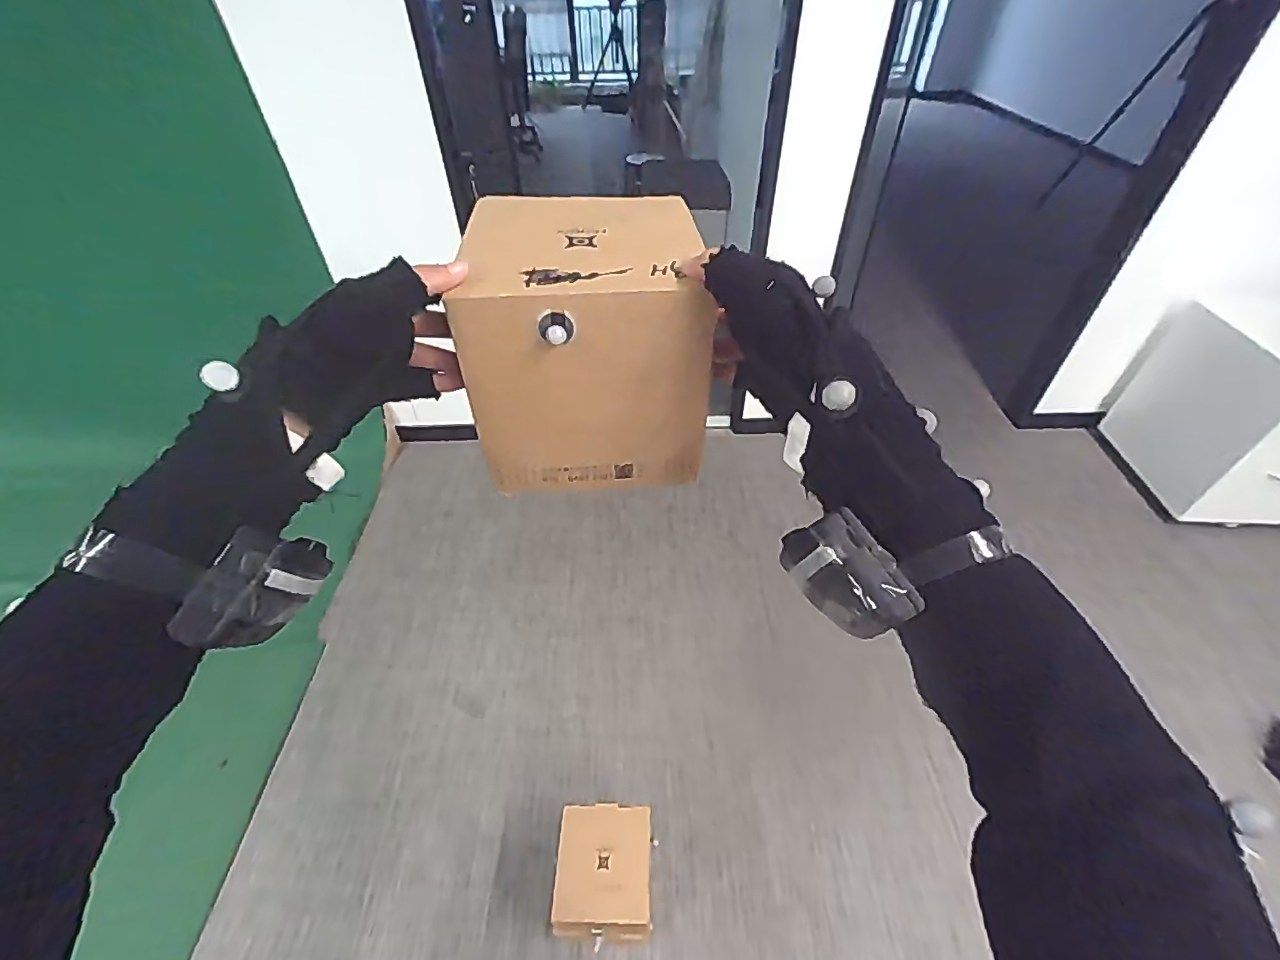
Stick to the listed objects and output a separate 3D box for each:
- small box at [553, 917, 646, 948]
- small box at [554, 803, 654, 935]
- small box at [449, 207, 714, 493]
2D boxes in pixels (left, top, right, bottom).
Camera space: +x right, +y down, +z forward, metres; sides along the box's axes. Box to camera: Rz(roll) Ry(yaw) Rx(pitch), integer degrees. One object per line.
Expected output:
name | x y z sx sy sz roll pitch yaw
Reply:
small box | -0.072 0.853 1.123 0.179 0.176 0.168 0 44 3
small box | -0.060 0.732 1.017 0.168 0.176 0.179 -1 45 2
small box | -0.040 -0.109 0.444 0.168 0.176 0.179 -4 43 -3
